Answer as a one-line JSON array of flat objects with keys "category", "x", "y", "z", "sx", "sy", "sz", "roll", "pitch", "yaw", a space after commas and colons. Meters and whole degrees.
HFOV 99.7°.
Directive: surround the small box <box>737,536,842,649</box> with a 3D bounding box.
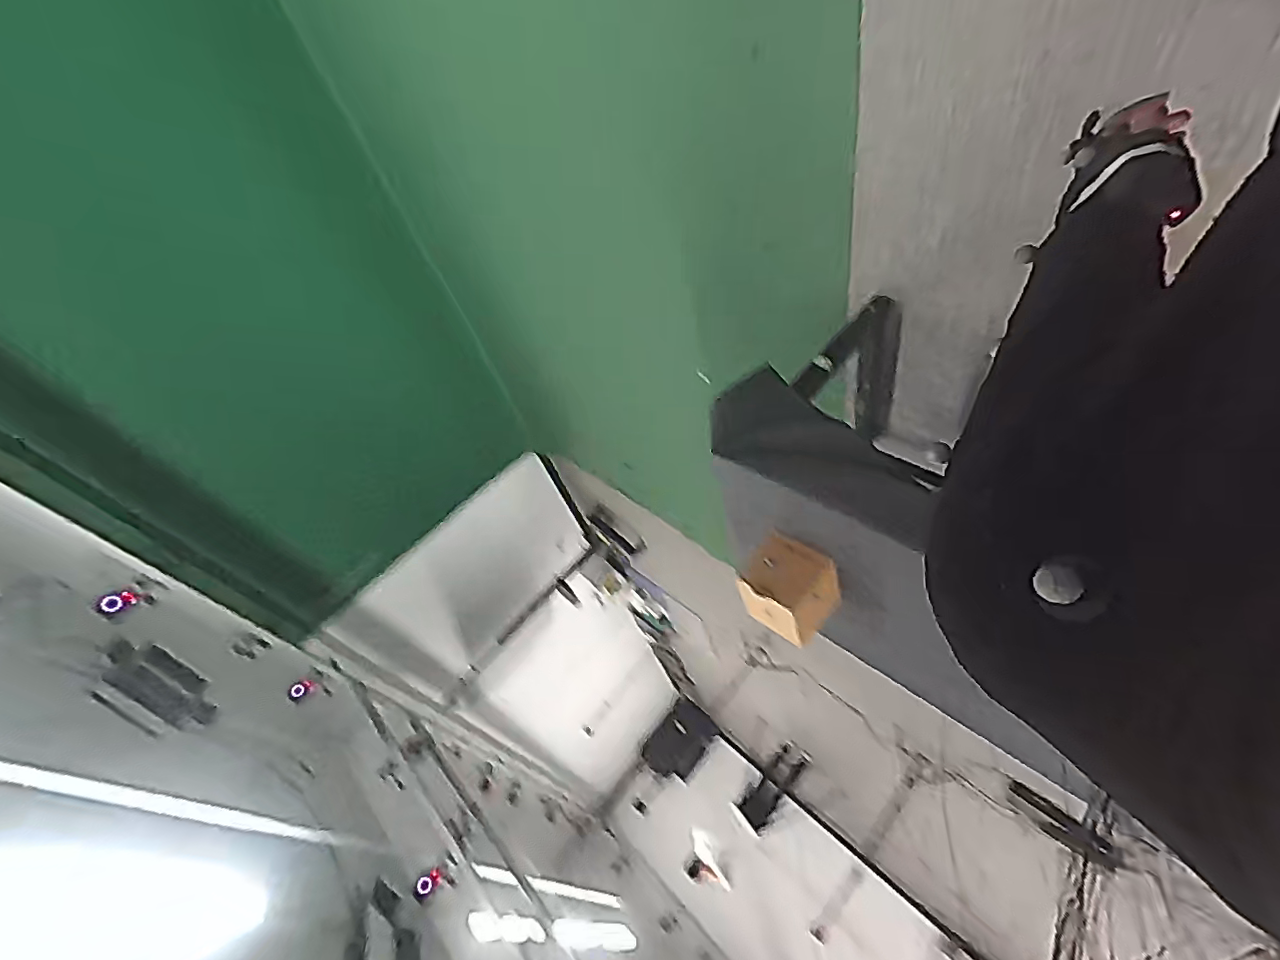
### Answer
[{"category": "small box", "x": 0.365, "y": 0.265, "z": 1.306, "sx": 0.168, "sy": 0.176, "sz": 0.179, "roll": 27, "pitch": 154, "yaw": 43}]
